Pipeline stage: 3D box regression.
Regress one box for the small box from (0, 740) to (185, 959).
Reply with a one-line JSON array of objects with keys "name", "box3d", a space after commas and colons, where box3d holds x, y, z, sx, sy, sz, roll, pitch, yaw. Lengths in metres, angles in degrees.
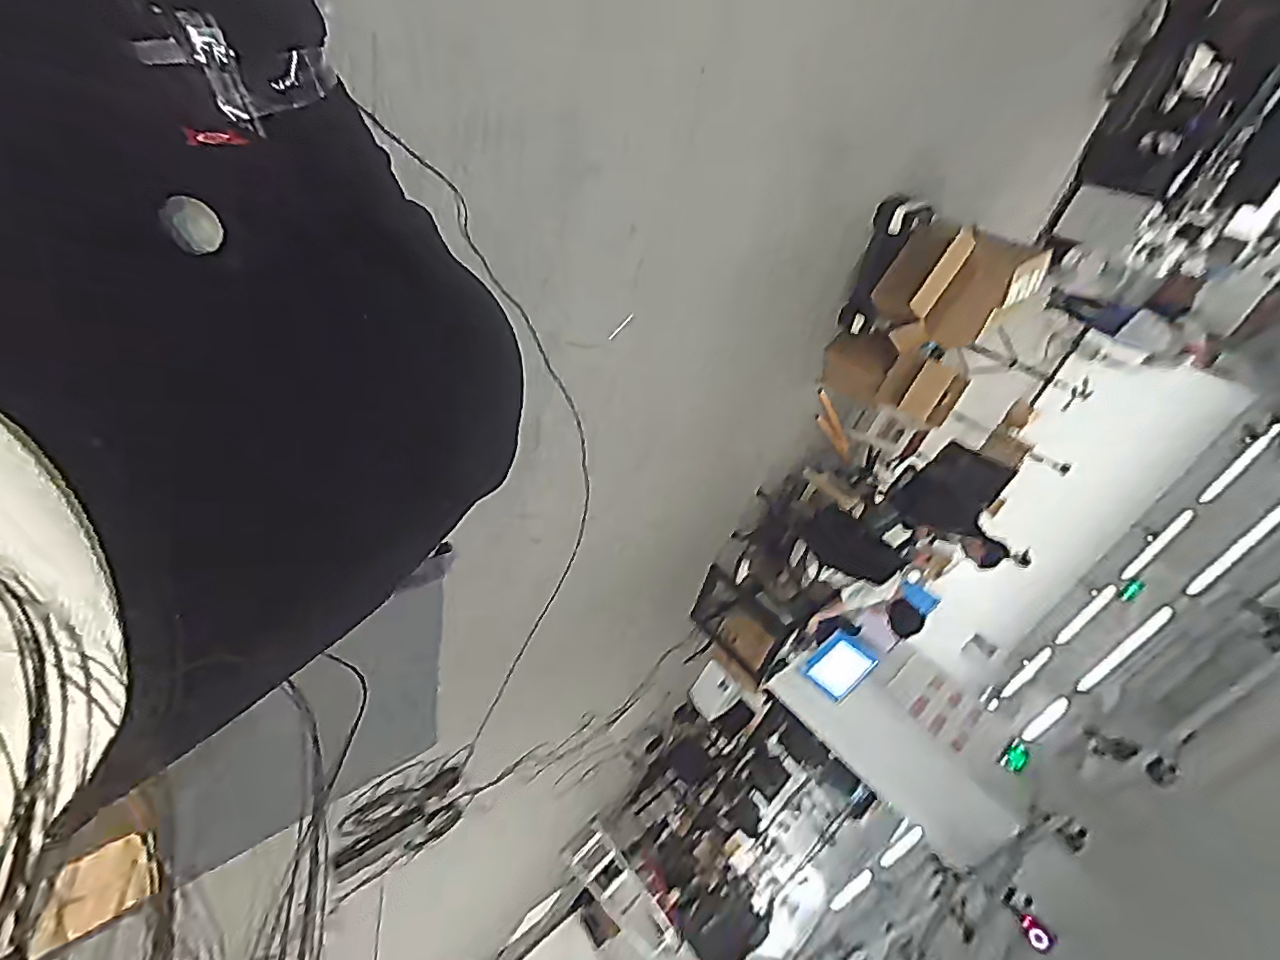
[{"name": "small box", "box3d": [-0.744, 0.491, 0.719, 0.168, 0.176, 0.179, -20, 136, -40]}]
